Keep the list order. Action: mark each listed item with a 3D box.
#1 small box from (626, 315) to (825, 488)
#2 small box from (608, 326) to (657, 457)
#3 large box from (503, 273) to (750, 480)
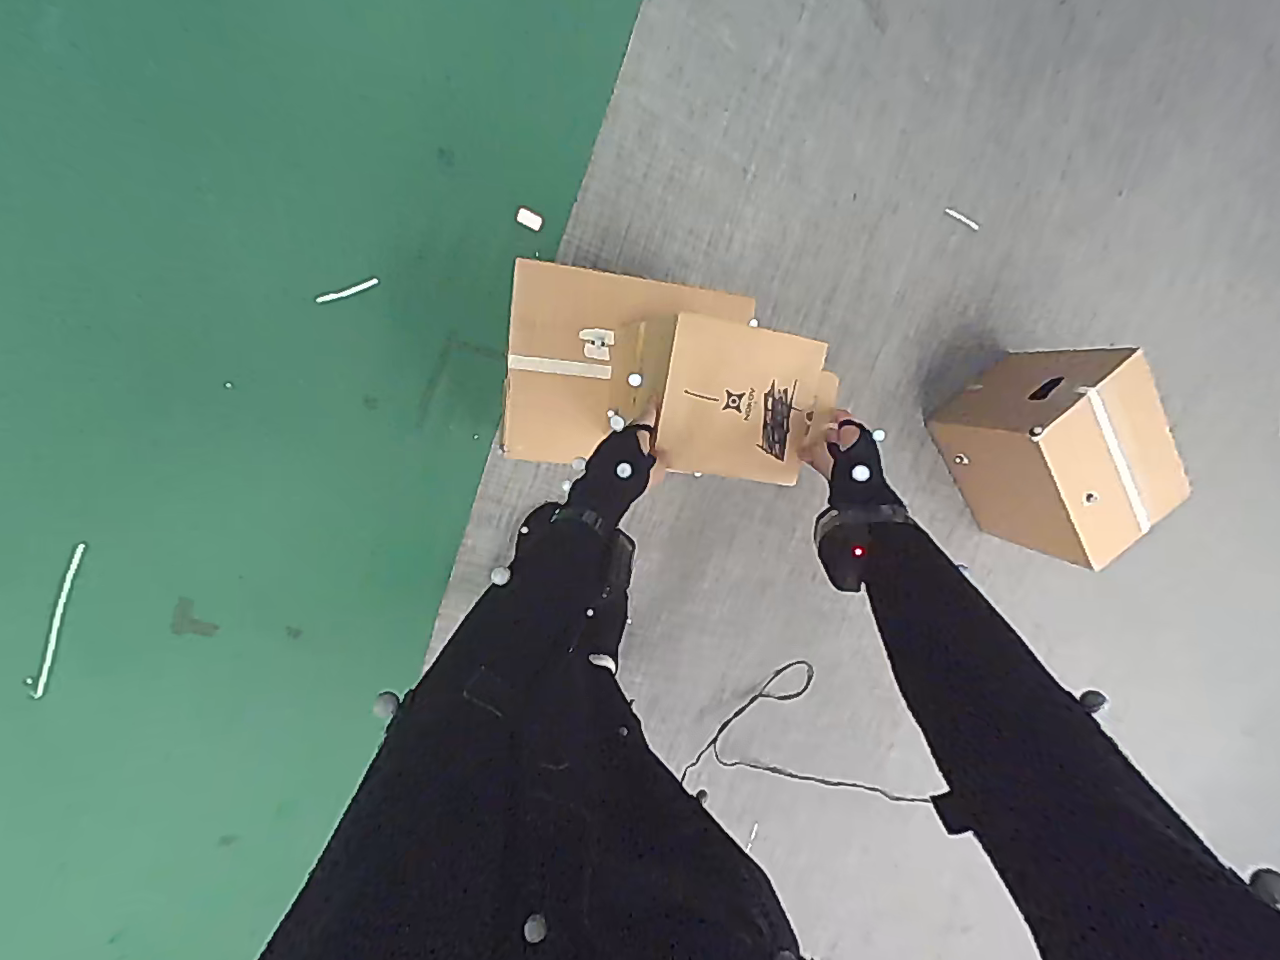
[{"bbox_3d":[0.091,-0.096,0.663,0.179,0.176,0.168,7,99,-12],"label":"small box"},{"bbox_3d":[0.050,-0.128,0.821,0.168,0.176,0.179,4,99,-15],"label":"small box"},{"bbox_3d":[-0.047,-0.187,1.043,0.408,0.320,0.320,4,98,-13],"label":"large box"}]
